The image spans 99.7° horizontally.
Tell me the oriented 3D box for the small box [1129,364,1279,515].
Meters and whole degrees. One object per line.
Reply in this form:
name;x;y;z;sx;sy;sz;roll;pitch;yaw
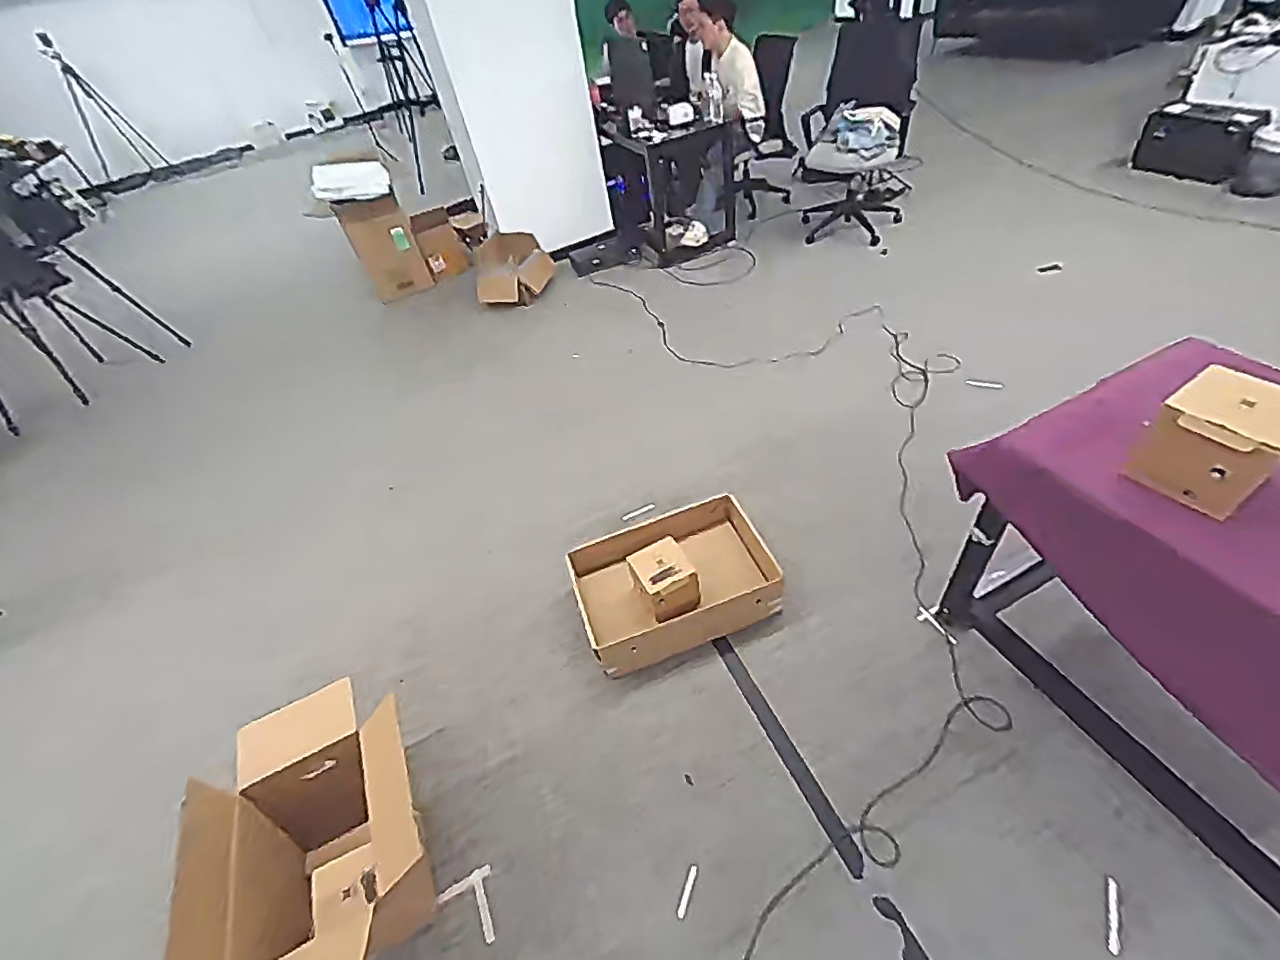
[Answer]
small box;1.025;-0.070;0.956;0.179;0.176;0.168;-29;48;-17
